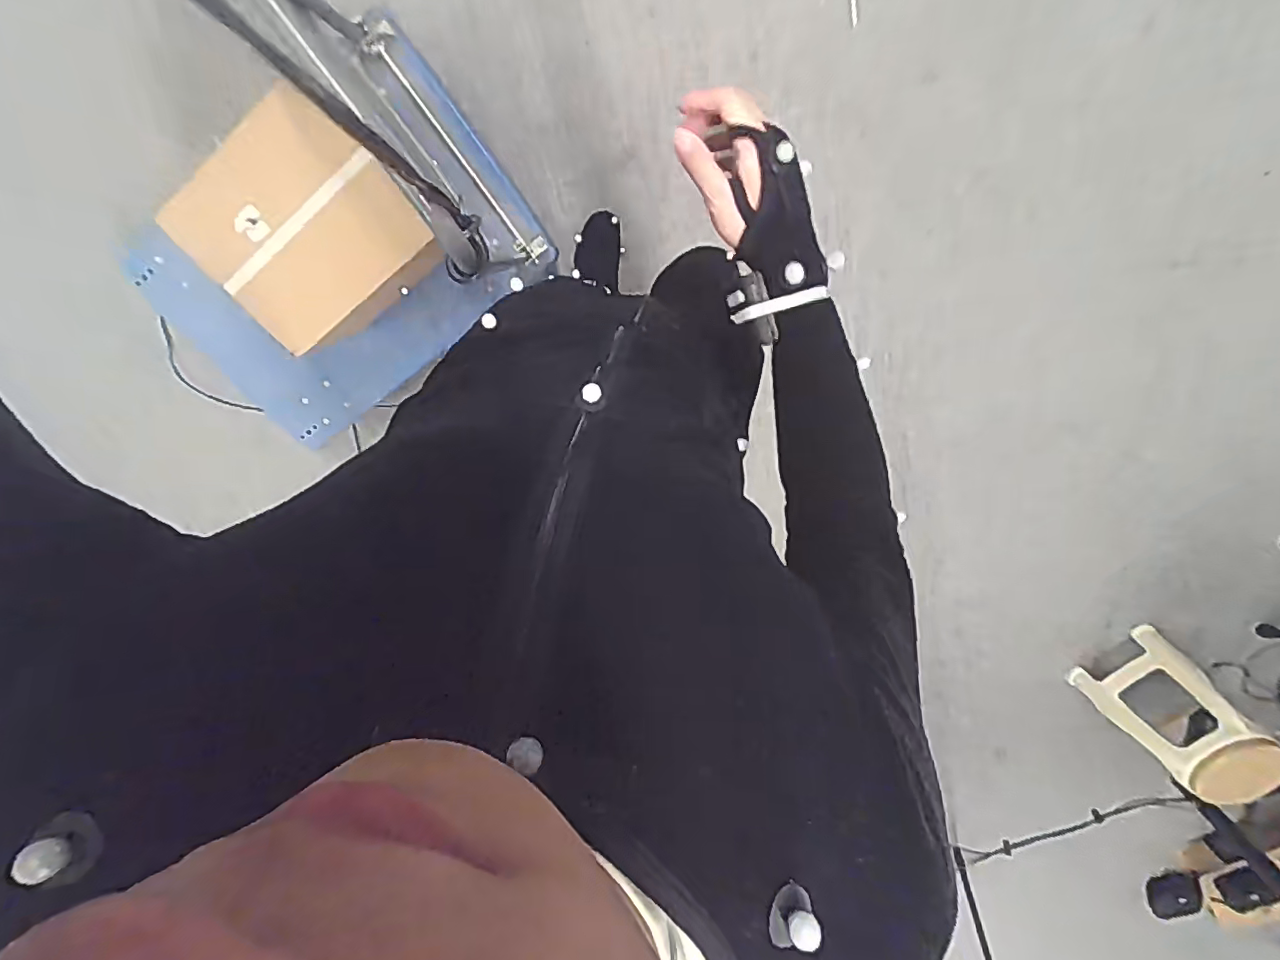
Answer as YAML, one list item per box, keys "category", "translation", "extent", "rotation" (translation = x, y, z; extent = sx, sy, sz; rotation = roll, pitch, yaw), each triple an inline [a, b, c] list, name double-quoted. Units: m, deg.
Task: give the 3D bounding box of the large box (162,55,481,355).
- category: "large box"
  translation: [-0.598, -0.527, 1.087]
  extent: [0.408, 0.320, 0.320]
  rotation: [-33, 112, 15]
